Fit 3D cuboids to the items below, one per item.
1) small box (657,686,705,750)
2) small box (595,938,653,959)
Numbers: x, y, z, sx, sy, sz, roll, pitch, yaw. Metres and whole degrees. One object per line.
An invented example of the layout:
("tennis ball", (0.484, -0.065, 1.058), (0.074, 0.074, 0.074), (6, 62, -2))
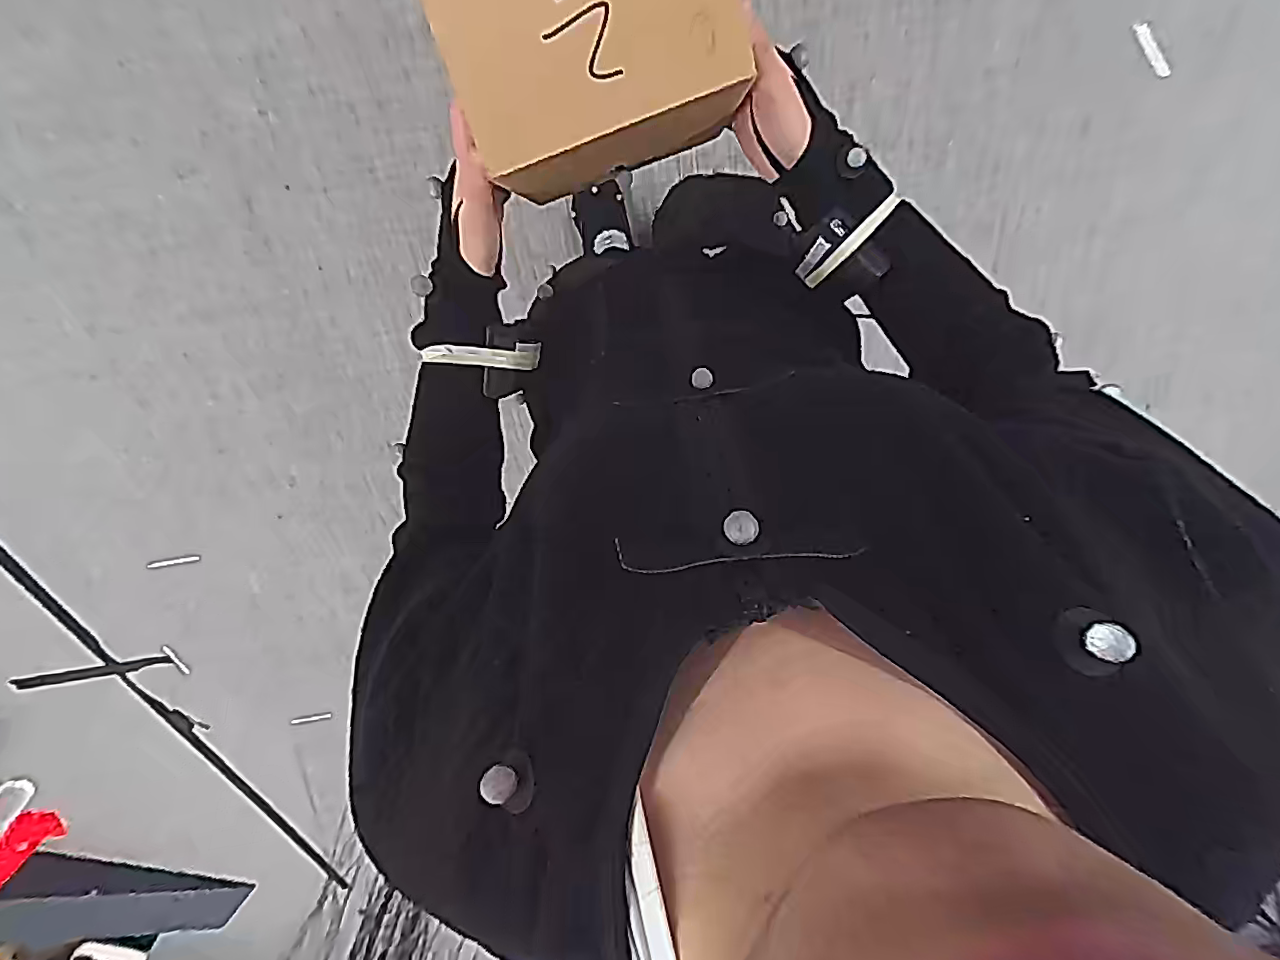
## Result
("small box", (0.163, 0.953, 2.181), (0.168, 0.176, 0.179), (-8, 124, -2))
("small box", (-0.042, 1.549, 1.659), (0.179, 0.176, 0.168), (-9, 124, -3))
